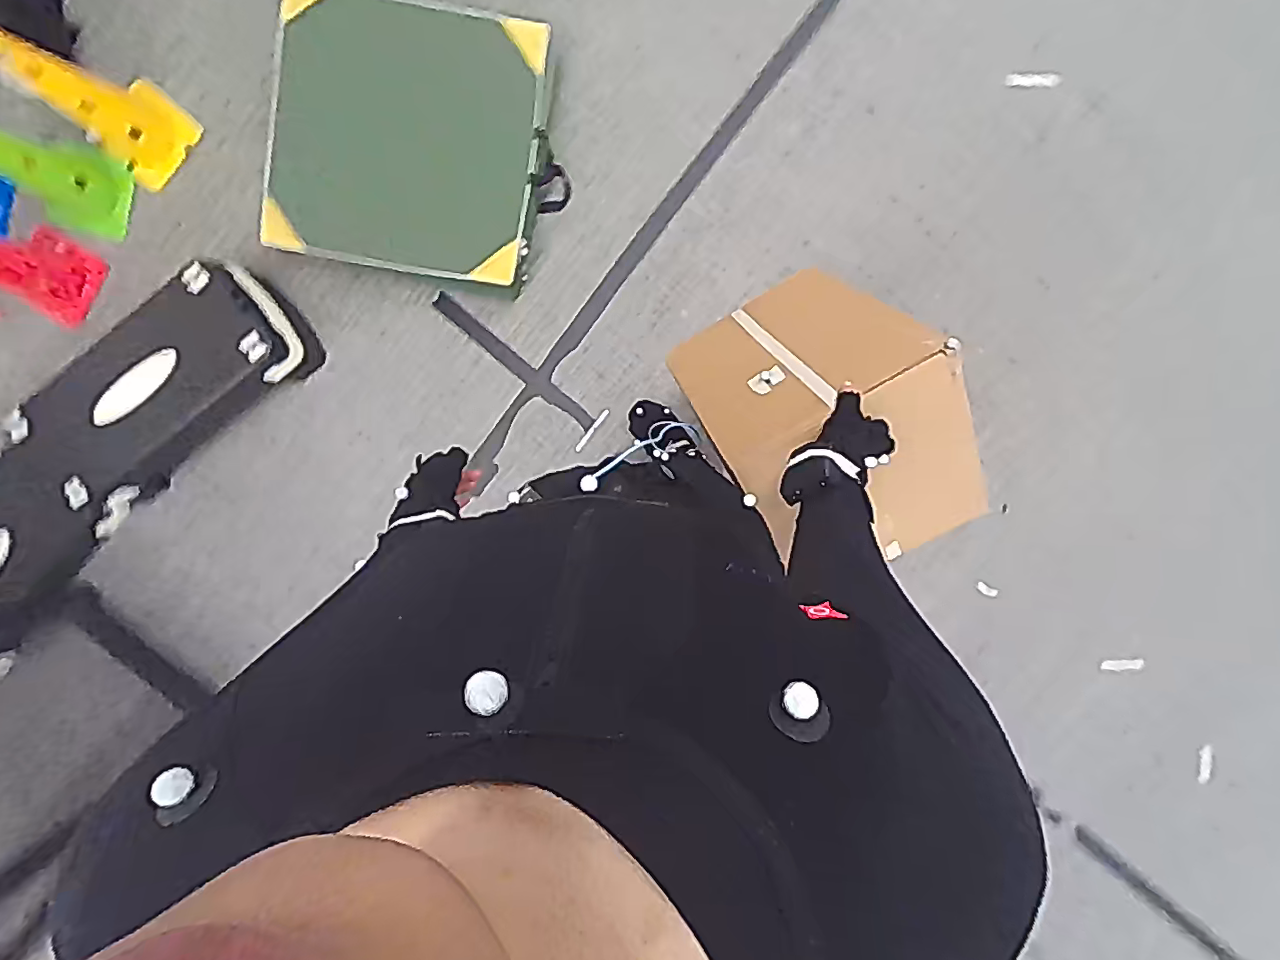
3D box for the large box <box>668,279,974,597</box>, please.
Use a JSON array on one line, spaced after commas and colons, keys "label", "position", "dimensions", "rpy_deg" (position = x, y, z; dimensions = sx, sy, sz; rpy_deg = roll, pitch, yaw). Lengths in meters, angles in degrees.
[{"label": "large box", "position": [0.287, -0.086, 0.931], "dimensions": [0.320, 0.408, 0.320], "rpy_deg": [-29, 125, 8]}]
